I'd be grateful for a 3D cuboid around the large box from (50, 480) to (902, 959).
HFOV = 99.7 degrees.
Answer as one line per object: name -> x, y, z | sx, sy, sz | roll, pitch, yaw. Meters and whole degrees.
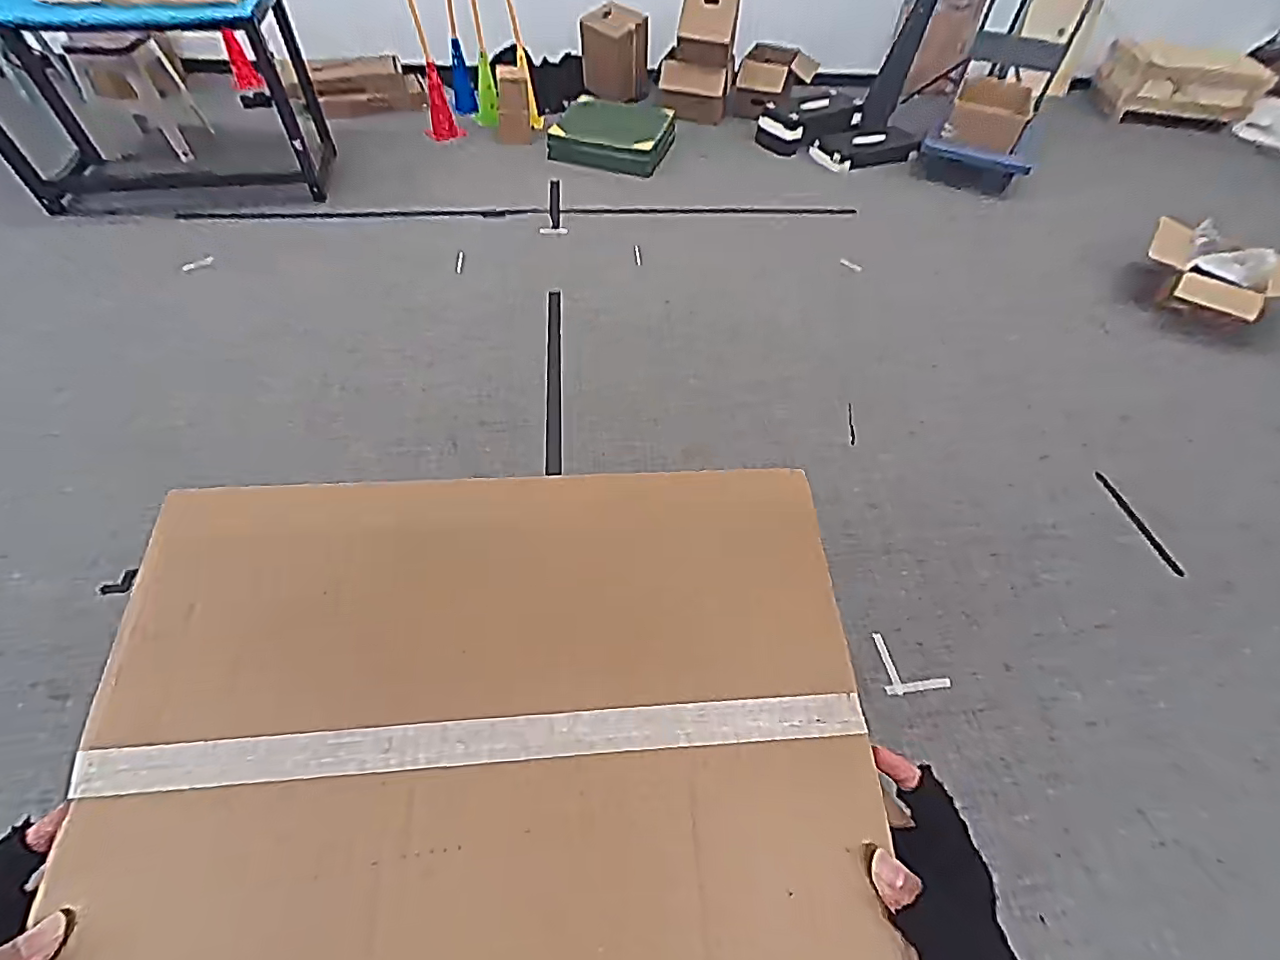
large box -> -0.087, 0.211, 0.430 | 0.408, 0.320, 0.320 | -2, 64, -5
